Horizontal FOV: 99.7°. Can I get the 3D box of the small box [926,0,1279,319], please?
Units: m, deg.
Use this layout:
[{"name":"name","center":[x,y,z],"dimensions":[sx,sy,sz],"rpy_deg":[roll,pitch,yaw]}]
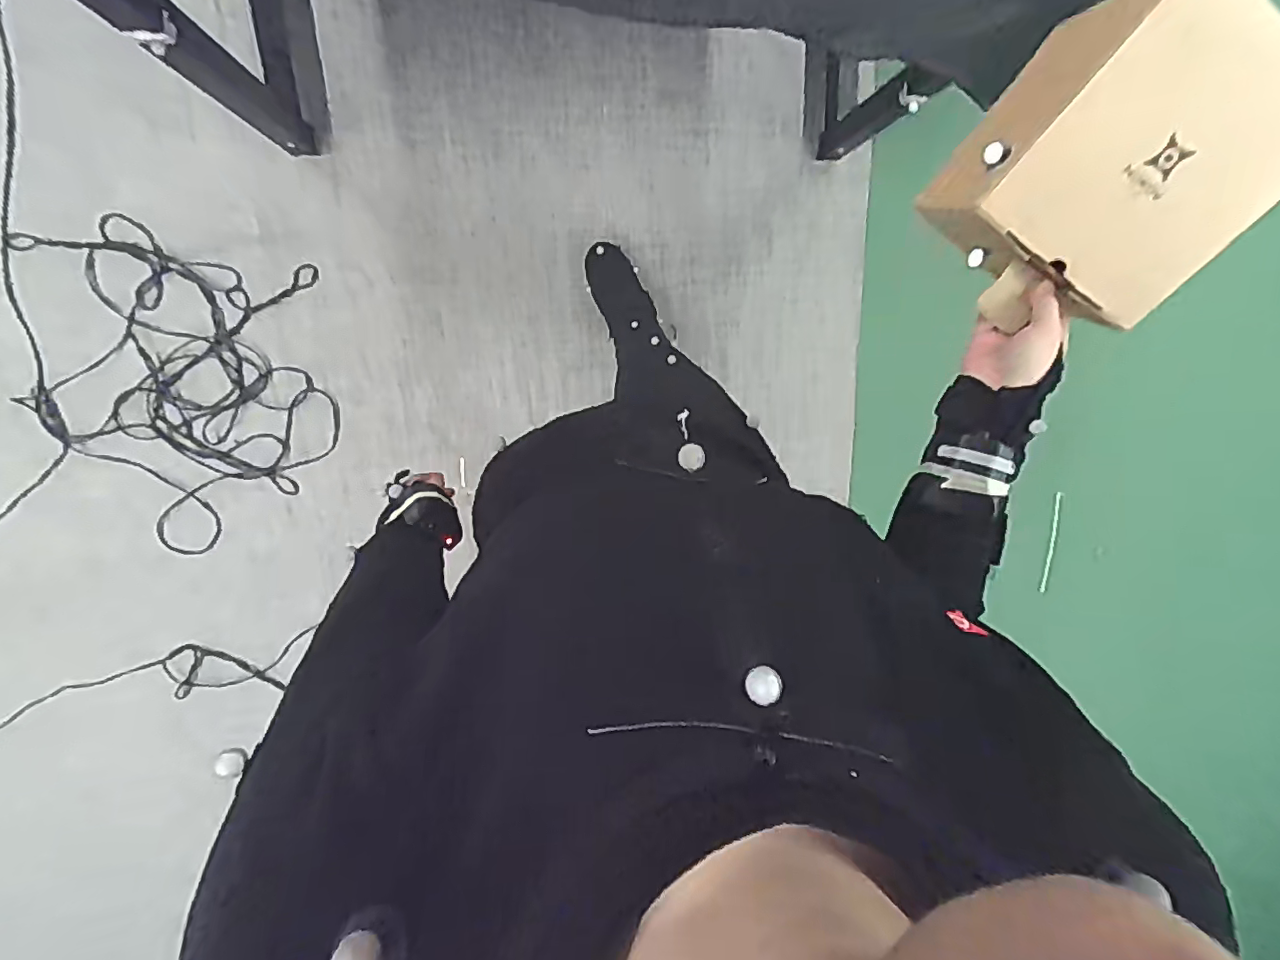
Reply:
[{"name":"small box","center":[0.375,-0.266,0.437],"dimensions":[0.168,0.176,0.179],"rpy_deg":[31,119,-9]}]
